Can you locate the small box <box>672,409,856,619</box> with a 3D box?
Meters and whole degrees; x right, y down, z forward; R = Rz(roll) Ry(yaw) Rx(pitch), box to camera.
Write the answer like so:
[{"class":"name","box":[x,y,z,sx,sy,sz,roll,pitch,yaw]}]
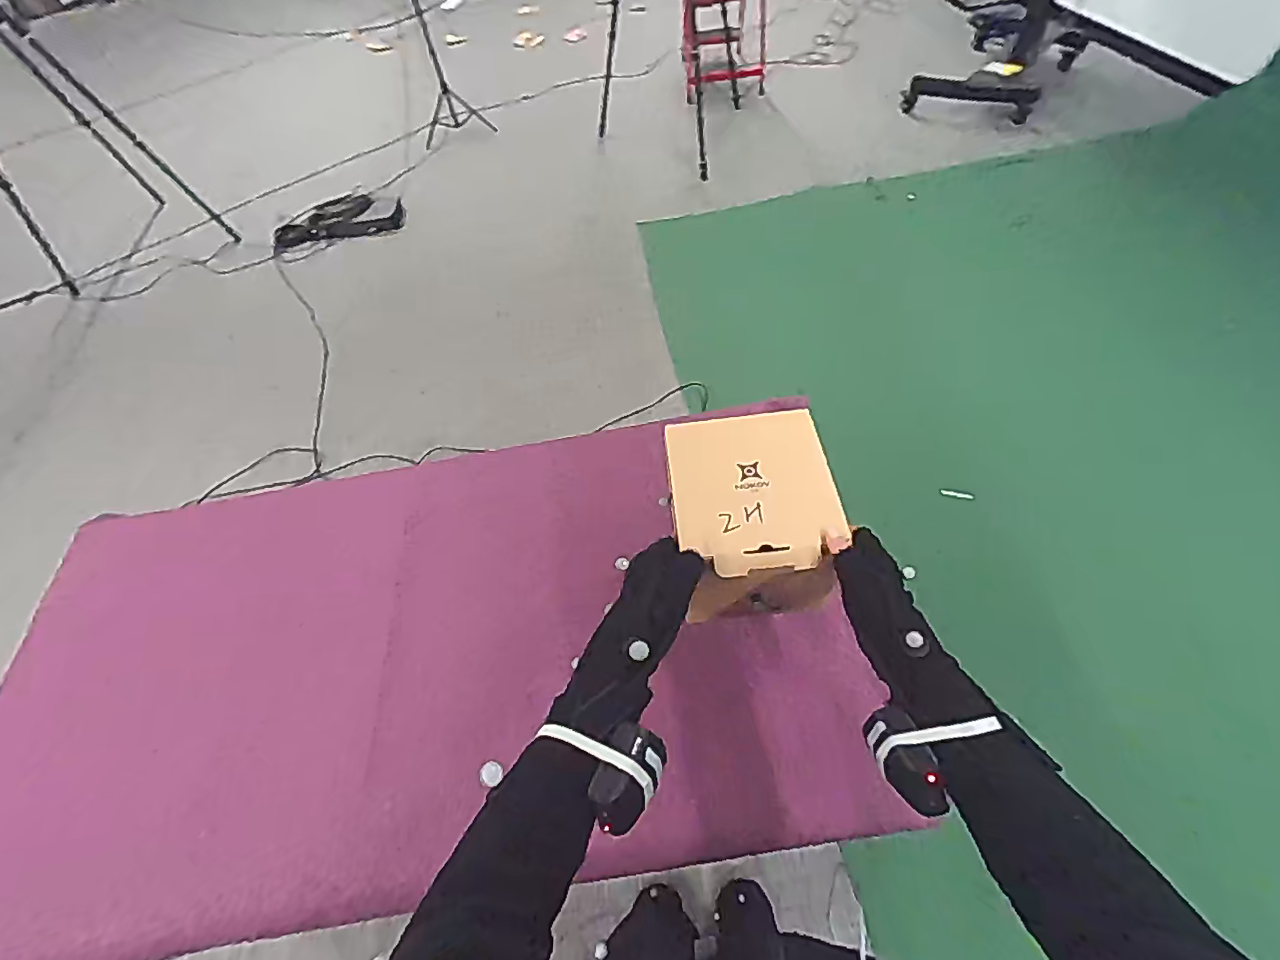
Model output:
[{"class":"small box","box":[0.126,0.043,0.626,0.168,0.176,0.179,-6,56,3]}]
